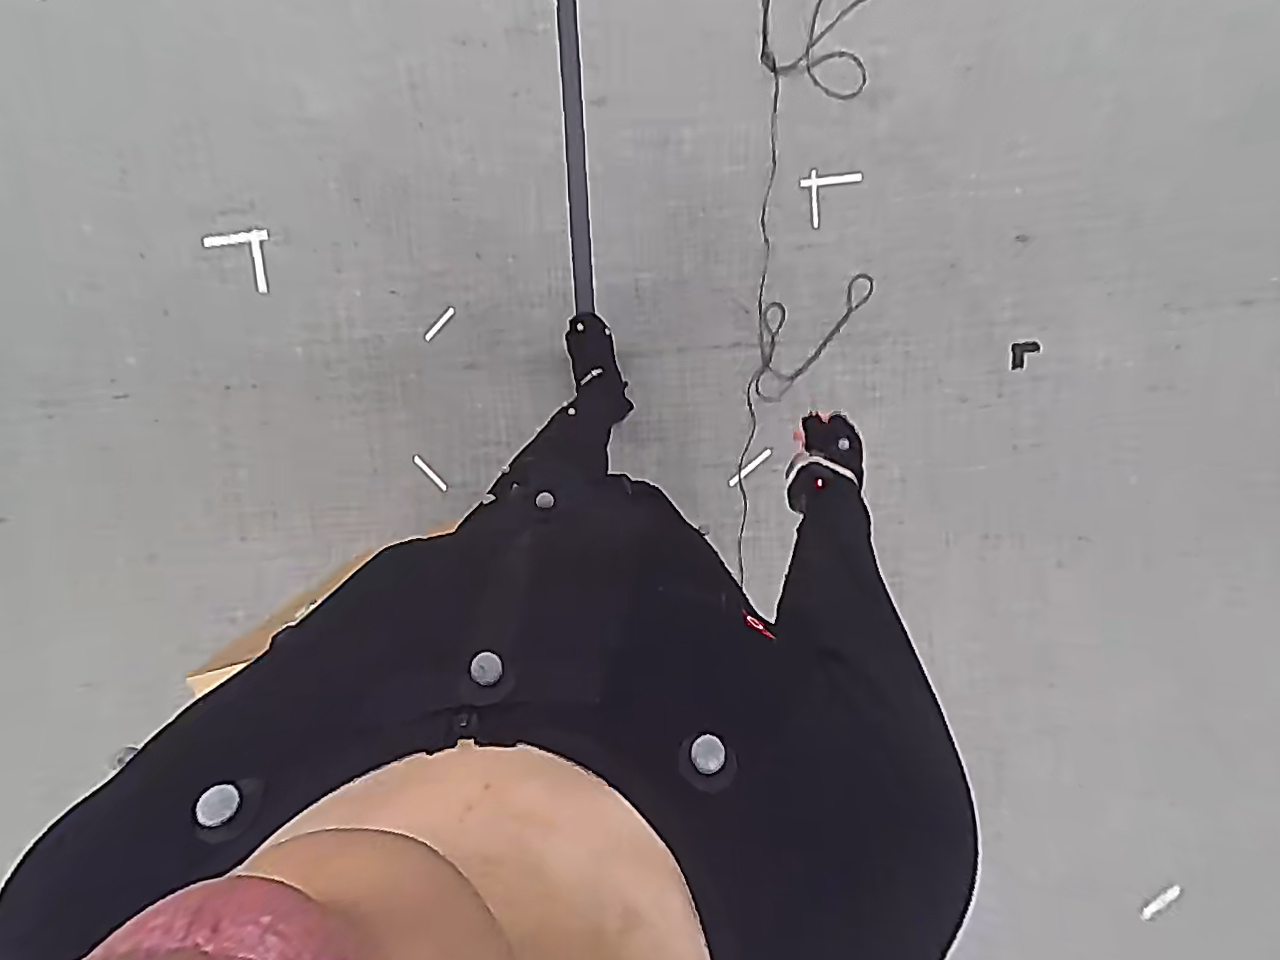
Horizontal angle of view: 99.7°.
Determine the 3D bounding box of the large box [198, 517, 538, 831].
[{"bbox_3d":[-0.415,0.307,0.953,0.320,0.408,0.320,-17,104,10],"label":"large box"}]
